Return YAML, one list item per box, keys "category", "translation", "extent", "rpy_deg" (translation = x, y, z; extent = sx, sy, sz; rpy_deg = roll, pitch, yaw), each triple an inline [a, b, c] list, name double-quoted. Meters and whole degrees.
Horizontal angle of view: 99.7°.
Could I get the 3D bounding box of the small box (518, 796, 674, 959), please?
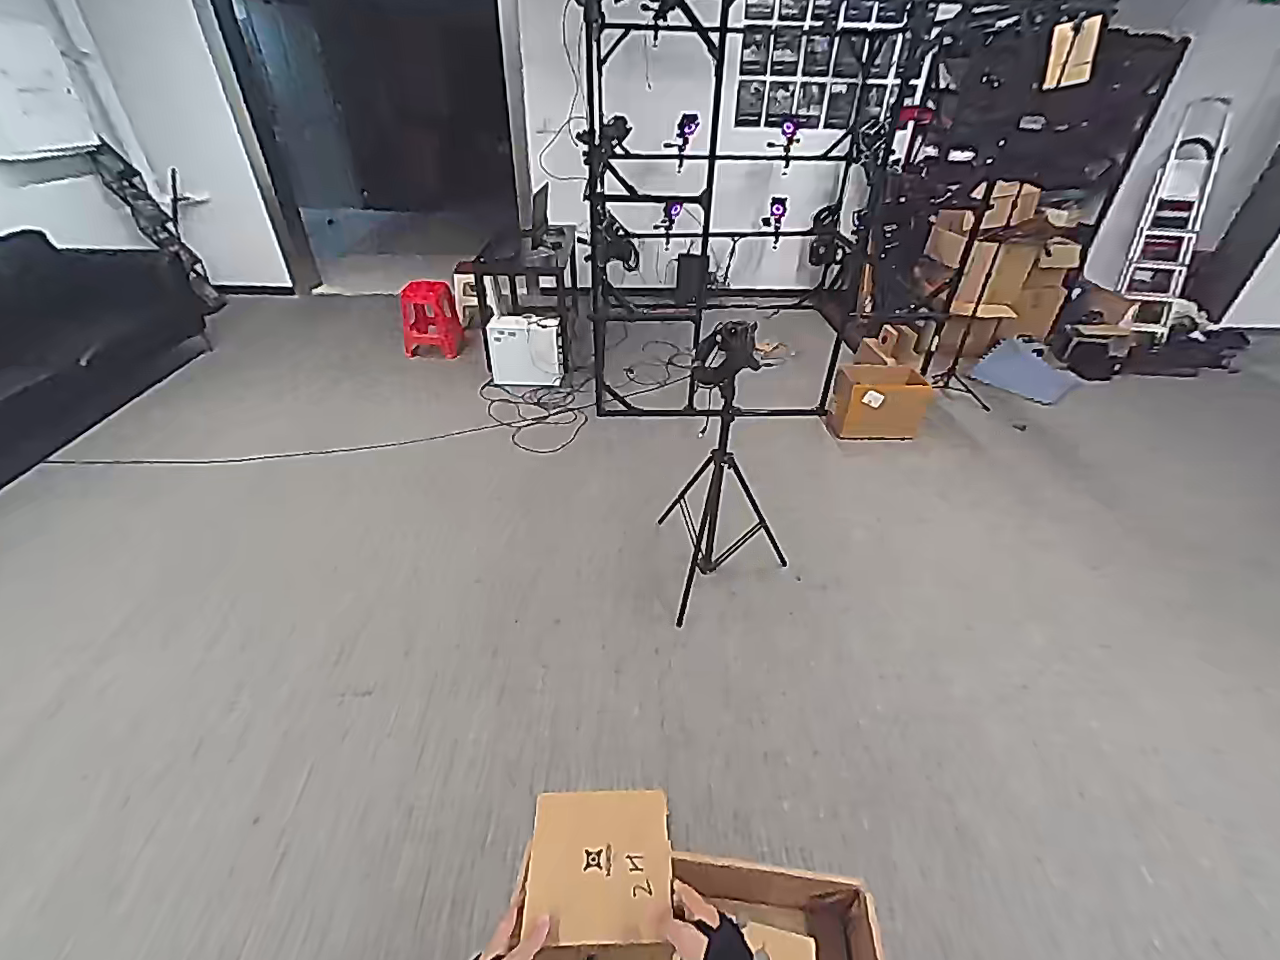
- category: "small box"
  translation: [-0.049, 0.538, 0.703]
  extent: [0.179, 0.176, 0.168]
  rpy_deg: [0, 35, -1]
